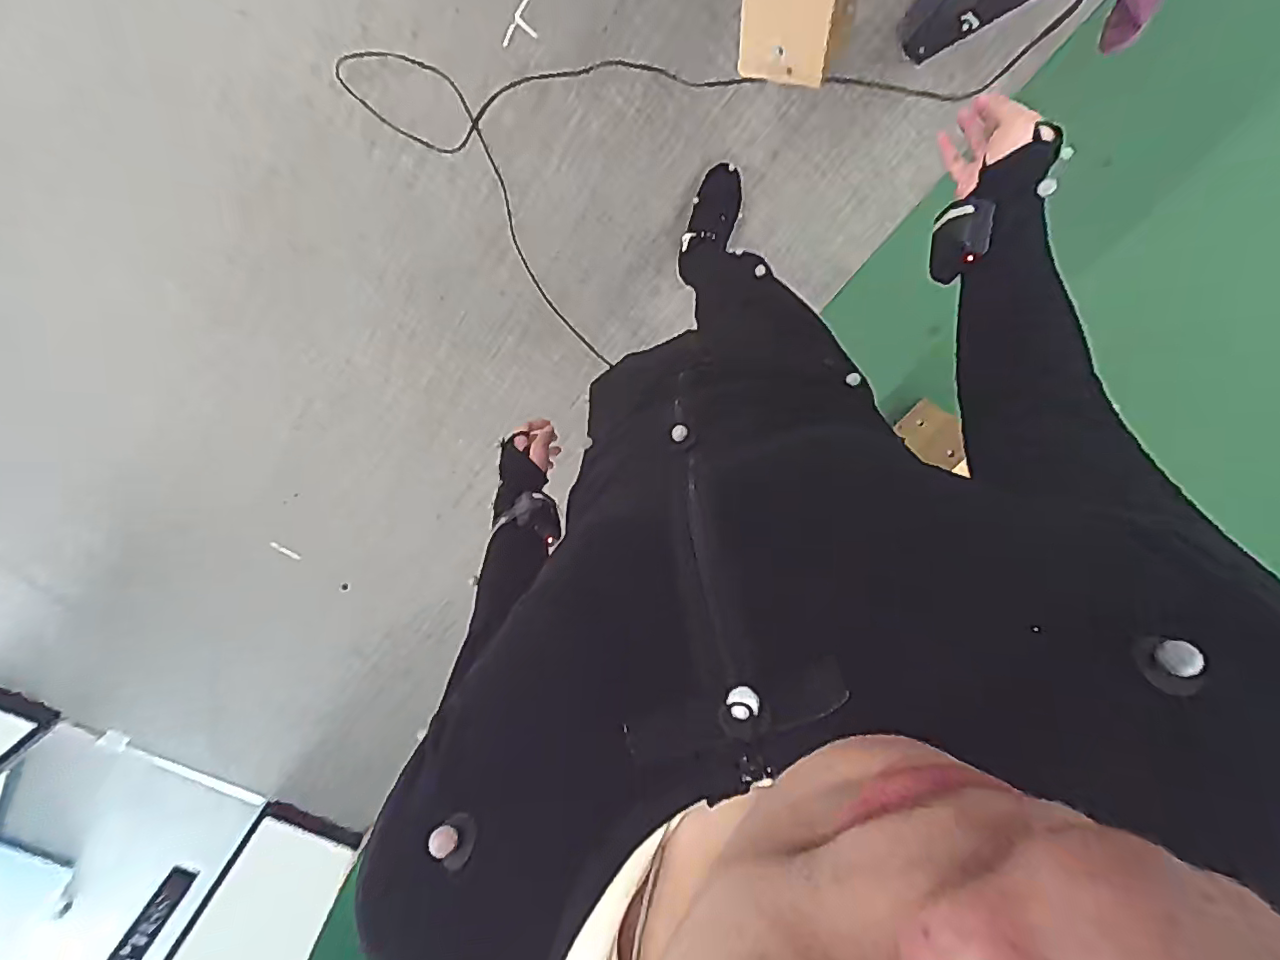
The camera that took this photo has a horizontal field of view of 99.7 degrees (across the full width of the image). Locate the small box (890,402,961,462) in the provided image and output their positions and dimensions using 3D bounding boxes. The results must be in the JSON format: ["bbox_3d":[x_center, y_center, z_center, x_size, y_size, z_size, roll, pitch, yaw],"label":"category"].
[{"bbox_3d":[0.853,-0.102,1.535,0.179,0.176,0.168,33,113,-14],"label":"small box"}]
